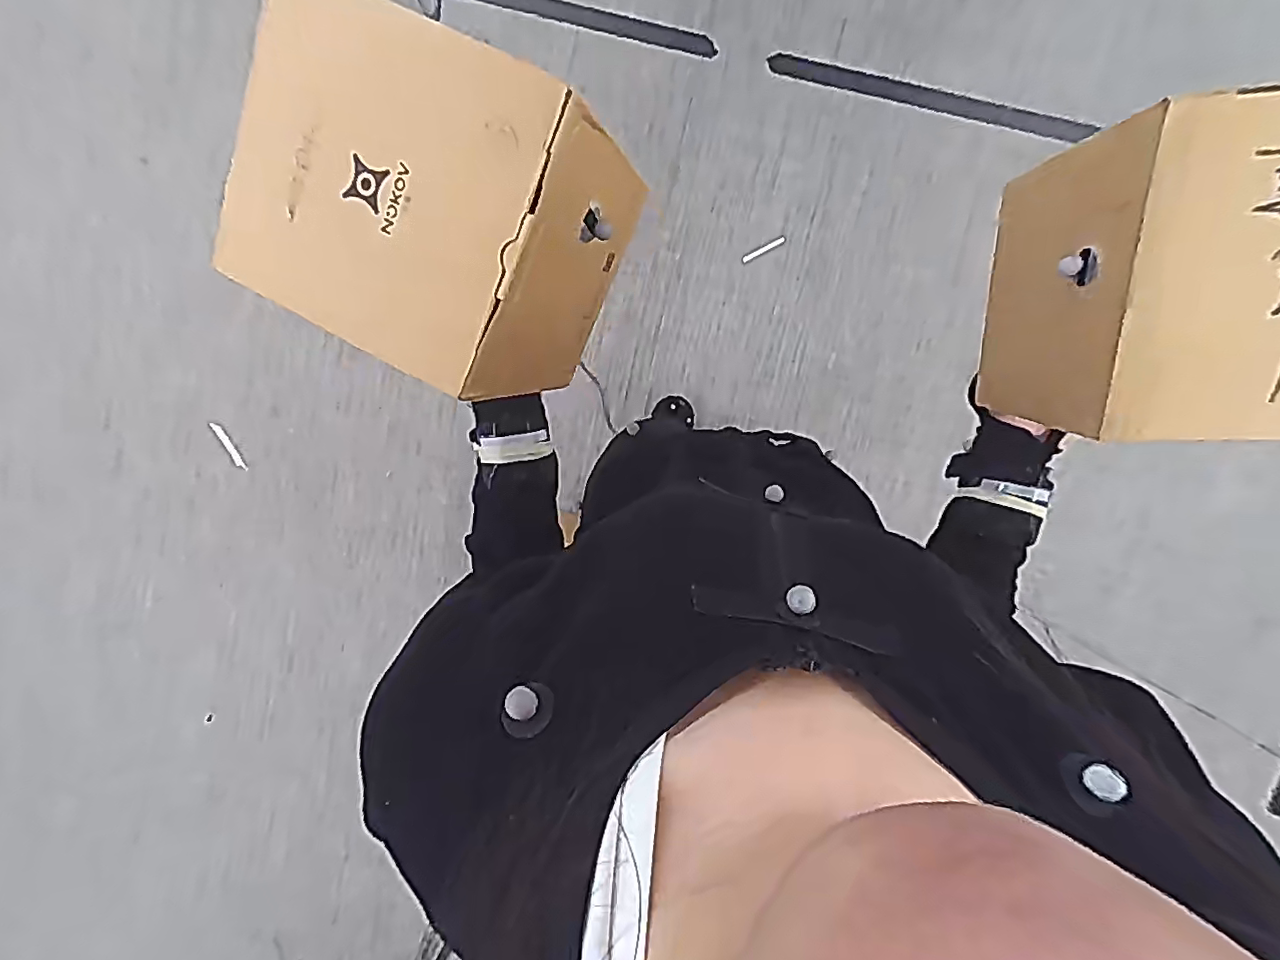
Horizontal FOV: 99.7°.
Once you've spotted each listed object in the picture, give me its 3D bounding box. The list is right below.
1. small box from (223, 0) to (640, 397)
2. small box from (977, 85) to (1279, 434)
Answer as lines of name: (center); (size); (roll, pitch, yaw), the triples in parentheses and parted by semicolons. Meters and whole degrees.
small box: (-0.118, -0.172, 0.363); (0.179, 0.176, 0.168); (28, 106, 7)
small box: (0.354, -0.130, 0.359); (0.168, 0.176, 0.179); (1, 106, 9)
